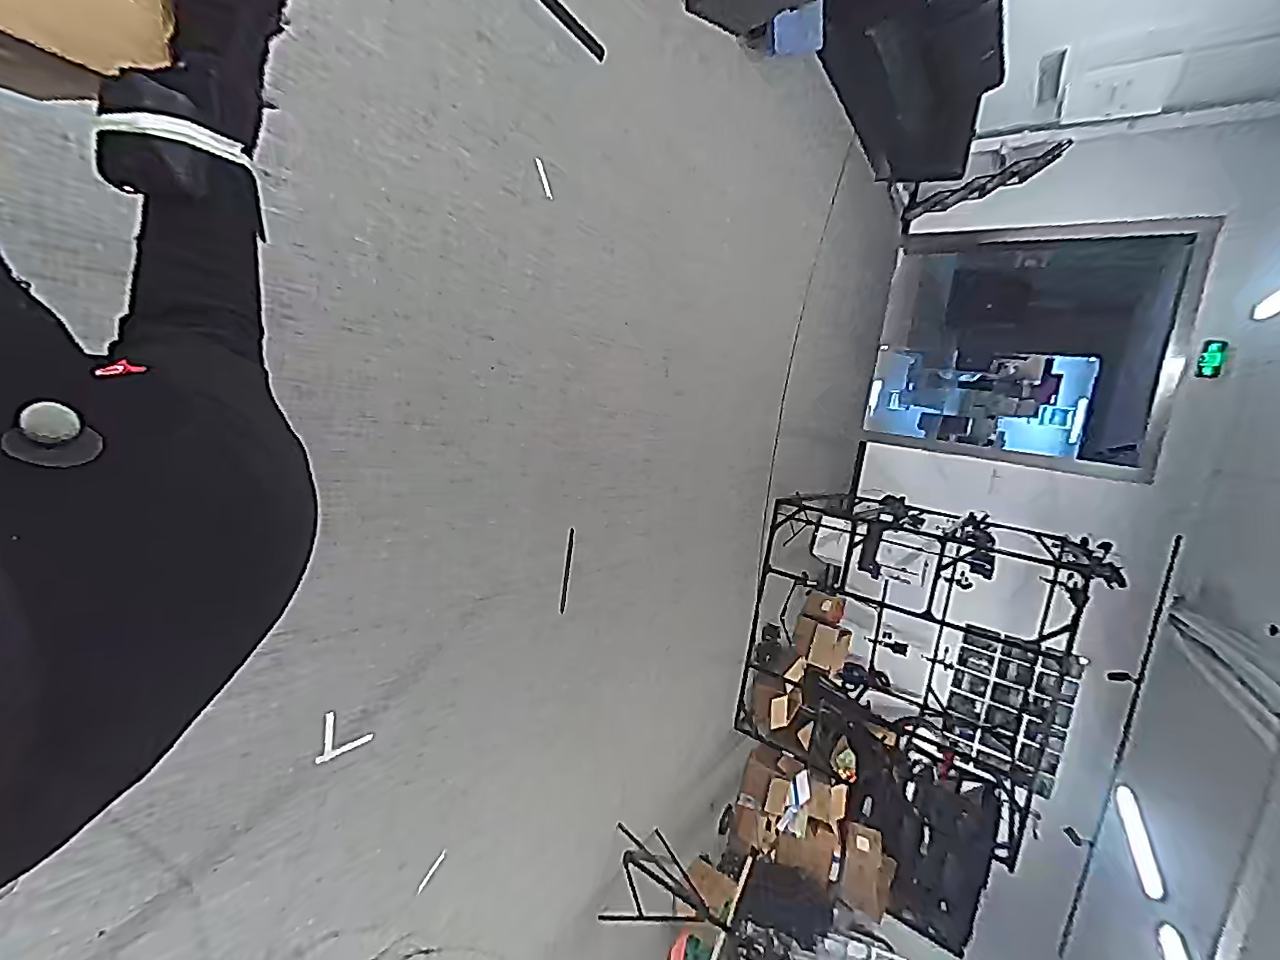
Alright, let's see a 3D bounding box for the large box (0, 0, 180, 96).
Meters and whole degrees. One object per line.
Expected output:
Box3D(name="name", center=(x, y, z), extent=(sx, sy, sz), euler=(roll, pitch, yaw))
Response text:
Box3D(name="large box", center=(-0.514, -0.451, 0.249), extent=(0.408, 0.320, 0.320), euler=(-5, 115, -59))
